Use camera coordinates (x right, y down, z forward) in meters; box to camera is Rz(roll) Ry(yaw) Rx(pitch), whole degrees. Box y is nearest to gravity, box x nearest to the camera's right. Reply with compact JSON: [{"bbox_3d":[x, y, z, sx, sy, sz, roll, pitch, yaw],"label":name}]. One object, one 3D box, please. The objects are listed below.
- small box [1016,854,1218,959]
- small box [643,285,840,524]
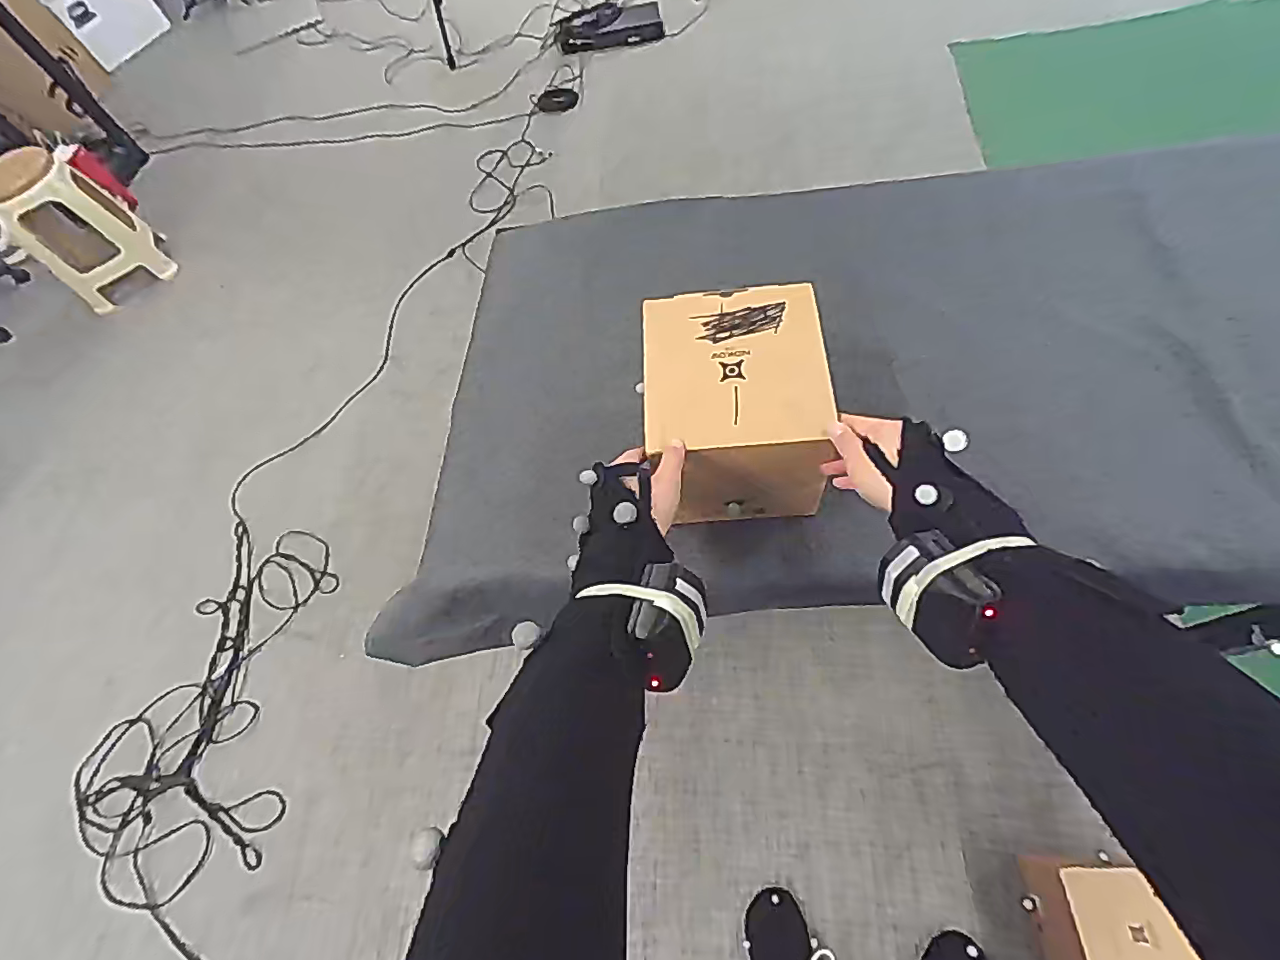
[{"bbox_3d":[0.755,0.709,0.867,0.179,0.176,0.168,-5,61,8],"label":"small box"},{"bbox_3d":[0.094,-0.068,0.558,0.168,0.176,0.179,-4,63,8],"label":"small box"}]
